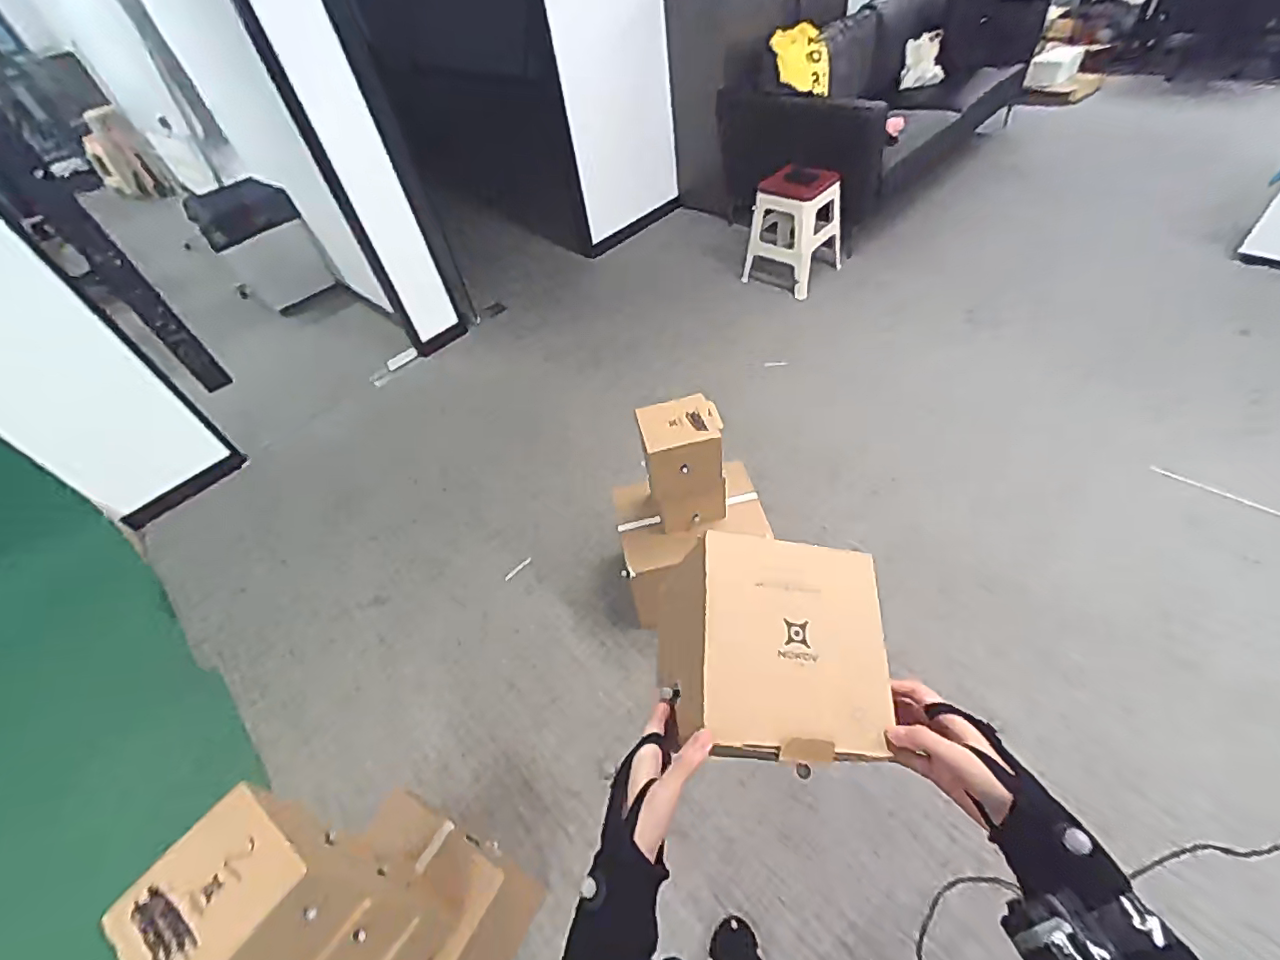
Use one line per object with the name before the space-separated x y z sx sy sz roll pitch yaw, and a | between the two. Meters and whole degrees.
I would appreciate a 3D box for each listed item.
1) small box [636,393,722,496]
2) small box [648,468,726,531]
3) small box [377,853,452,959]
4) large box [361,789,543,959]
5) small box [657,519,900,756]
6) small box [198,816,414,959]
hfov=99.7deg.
small box | 0.098 -0.086 1.339 0.179 0.176 0.168 -14 47 -1
small box | 0.122 0.011 1.471 0.179 0.176 0.168 -15 47 -6
small box | -0.448 0.752 0.900 0.179 0.176 0.168 25 56 27
large box | -0.458 0.922 1.082 0.320 0.320 0.408 19 55 25
small box | 0.116 0.160 0.521 0.168 0.176 0.179 10 61 -9
small box | -0.470 0.639 0.786 0.168 0.176 0.179 26 56 28
